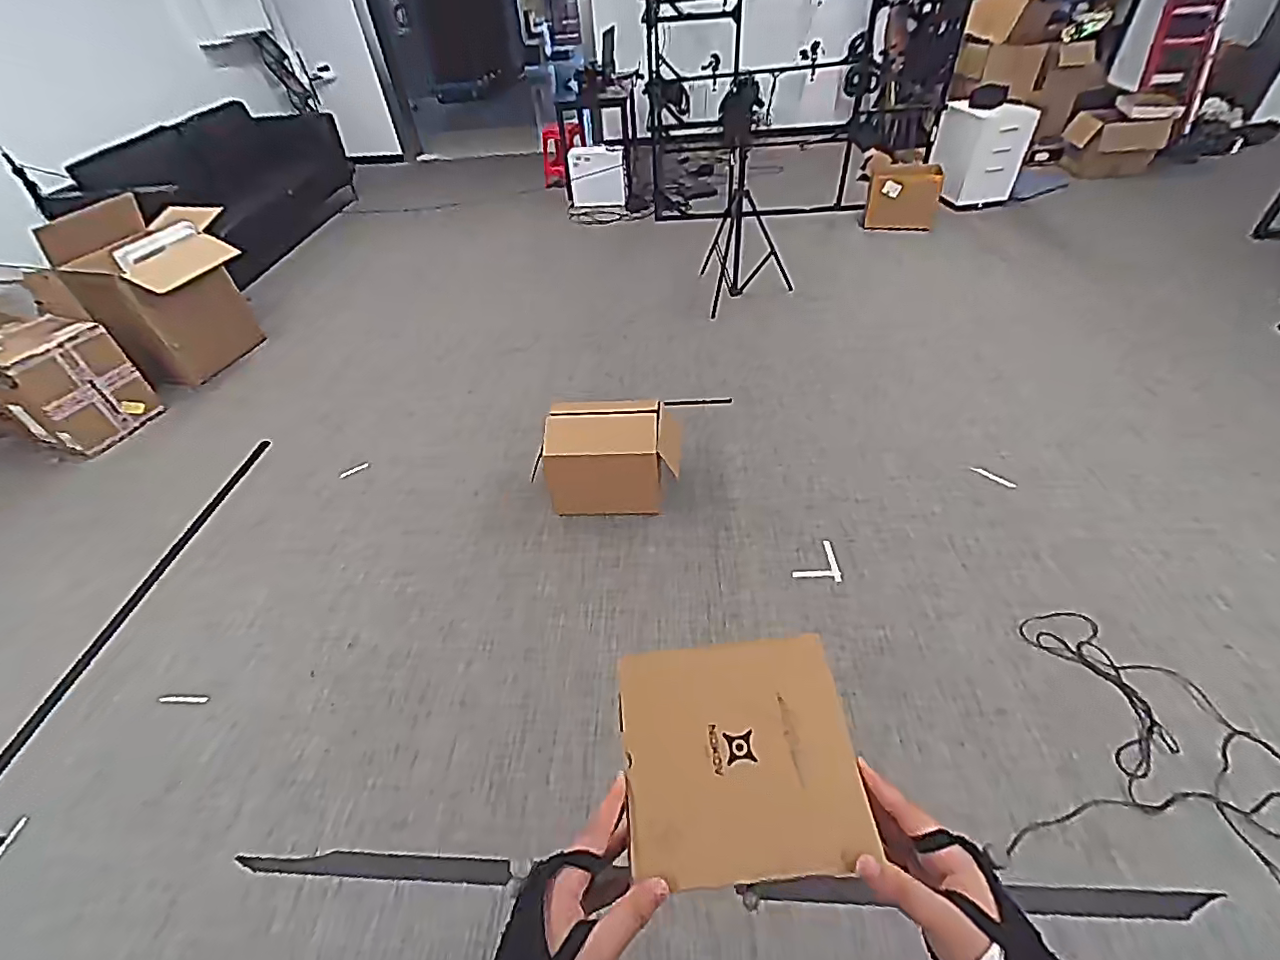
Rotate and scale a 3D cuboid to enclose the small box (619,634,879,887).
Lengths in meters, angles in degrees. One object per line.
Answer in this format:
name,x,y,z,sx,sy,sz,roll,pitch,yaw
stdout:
small box,0.081,0.256,0.485,0.179,0.176,0.168,-7,53,0
